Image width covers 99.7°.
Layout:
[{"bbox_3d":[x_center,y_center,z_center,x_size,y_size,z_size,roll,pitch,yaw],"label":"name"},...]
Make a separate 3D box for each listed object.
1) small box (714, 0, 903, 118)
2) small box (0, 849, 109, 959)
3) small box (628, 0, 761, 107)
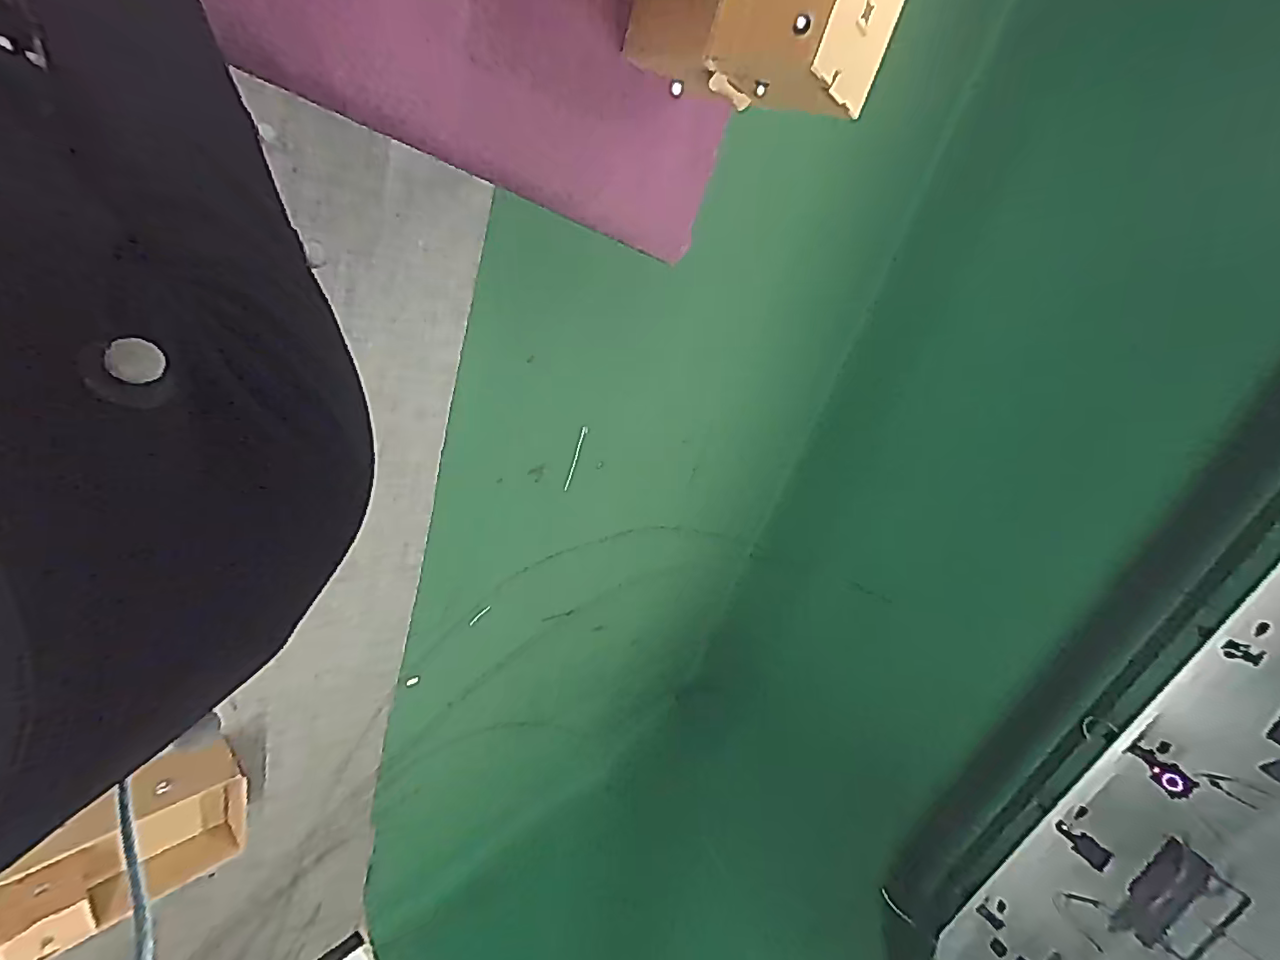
[{"bbox_3d":[0.225,-0.622,0.722,0.168,0.176,0.179,-11,128,-50],"label":"small box"},{"bbox_3d":[-1.588,1.151,1.466,0.168,0.176,0.179,-19,133,-48],"label":"small box"},{"bbox_3d":[0.105,-0.695,0.806,0.168,0.176,0.179,-11,127,-49],"label":"small box"}]
